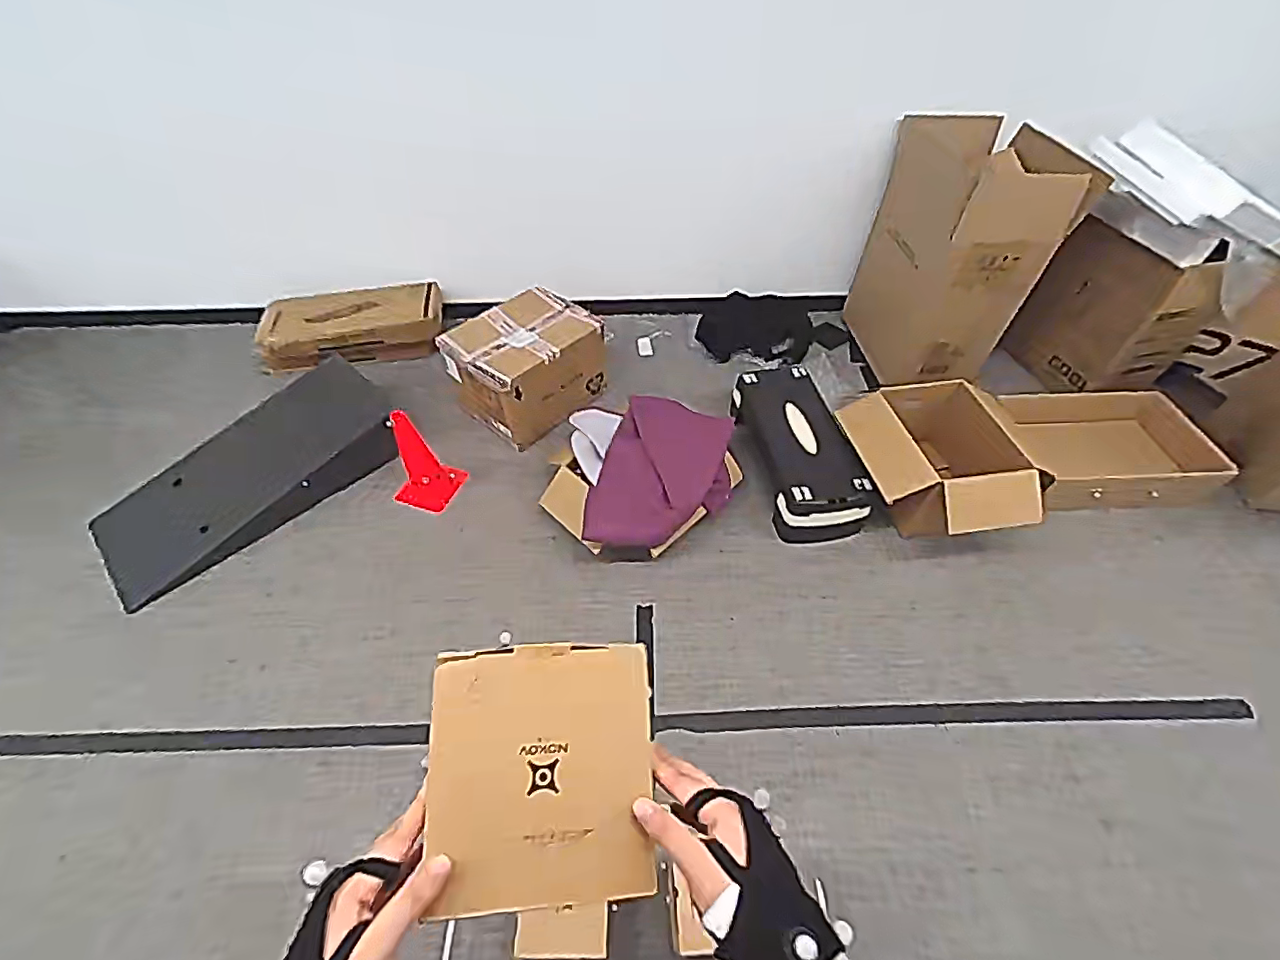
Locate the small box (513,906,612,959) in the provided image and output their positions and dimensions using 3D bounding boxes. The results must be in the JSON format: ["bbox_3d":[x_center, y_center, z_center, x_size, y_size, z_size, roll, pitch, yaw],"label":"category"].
[{"bbox_3d":[-0.146,0.872,1.100,0.179,0.176,0.168,-1,49,1],"label":"small box"}]

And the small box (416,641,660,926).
[{"bbox_3d":[-0.081,0.234,0.465,0.168,0.176,0.179,0,73,-9],"label":"small box"}]

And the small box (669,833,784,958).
[{"bbox_3d":[0.144,0.756,0.982,0.179,0.176,0.168,-2,49,-3],"label":"small box"}]
